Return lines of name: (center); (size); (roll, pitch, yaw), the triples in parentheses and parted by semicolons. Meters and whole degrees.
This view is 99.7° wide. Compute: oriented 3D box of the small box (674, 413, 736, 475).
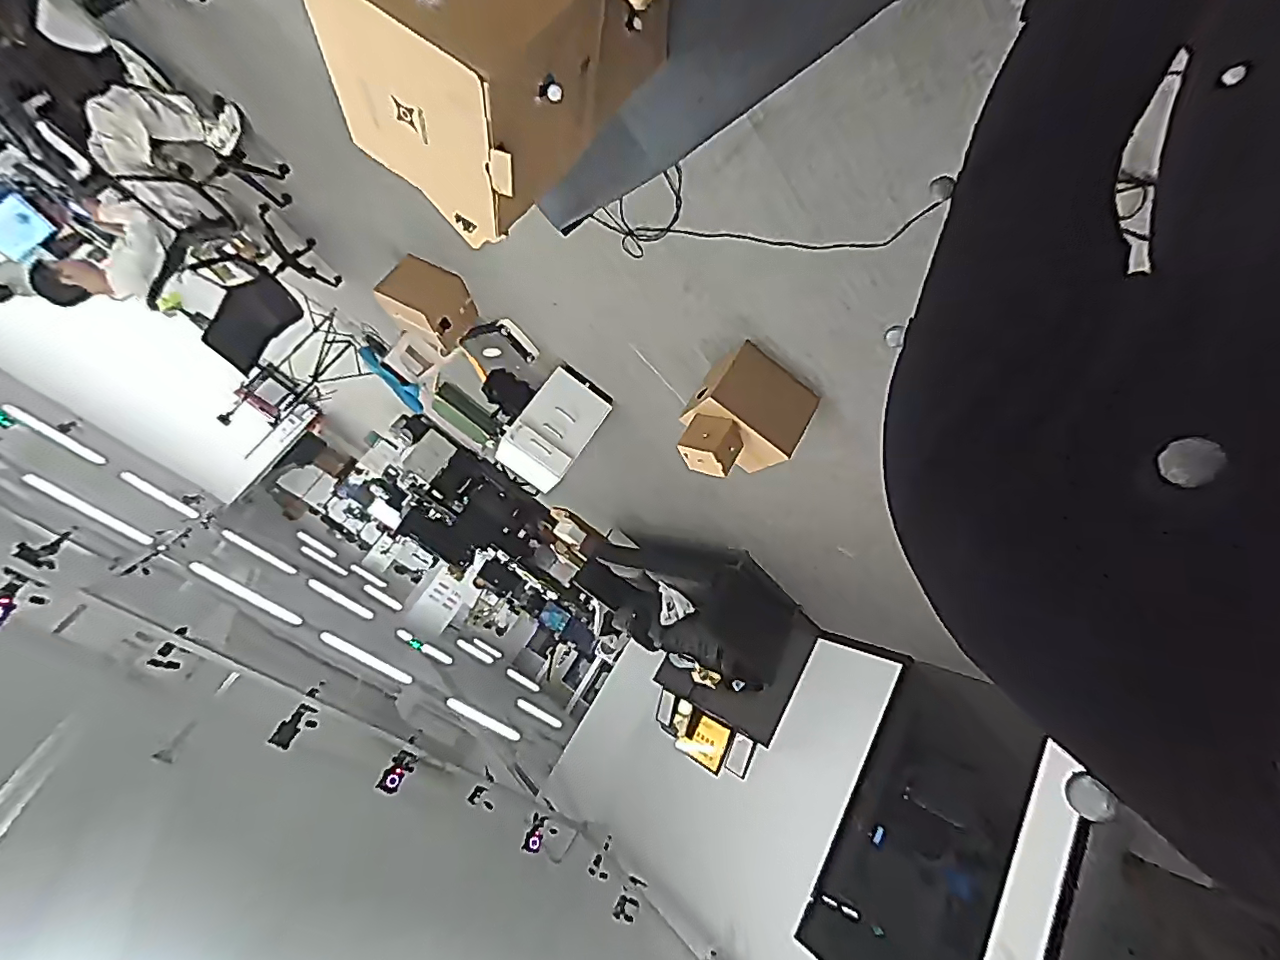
small box: (0.268, -0.146, 2.152); (0.179, 0.176, 0.168); (16, 154, 36)

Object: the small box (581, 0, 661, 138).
small box: (-0.084, -0.508, 0.560); (0.179, 0.176, 0.168); (30, 159, 11)

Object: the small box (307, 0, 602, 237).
small box: (-0.155, -0.375, 0.495); (0.179, 0.176, 0.168); (34, 159, 0)
